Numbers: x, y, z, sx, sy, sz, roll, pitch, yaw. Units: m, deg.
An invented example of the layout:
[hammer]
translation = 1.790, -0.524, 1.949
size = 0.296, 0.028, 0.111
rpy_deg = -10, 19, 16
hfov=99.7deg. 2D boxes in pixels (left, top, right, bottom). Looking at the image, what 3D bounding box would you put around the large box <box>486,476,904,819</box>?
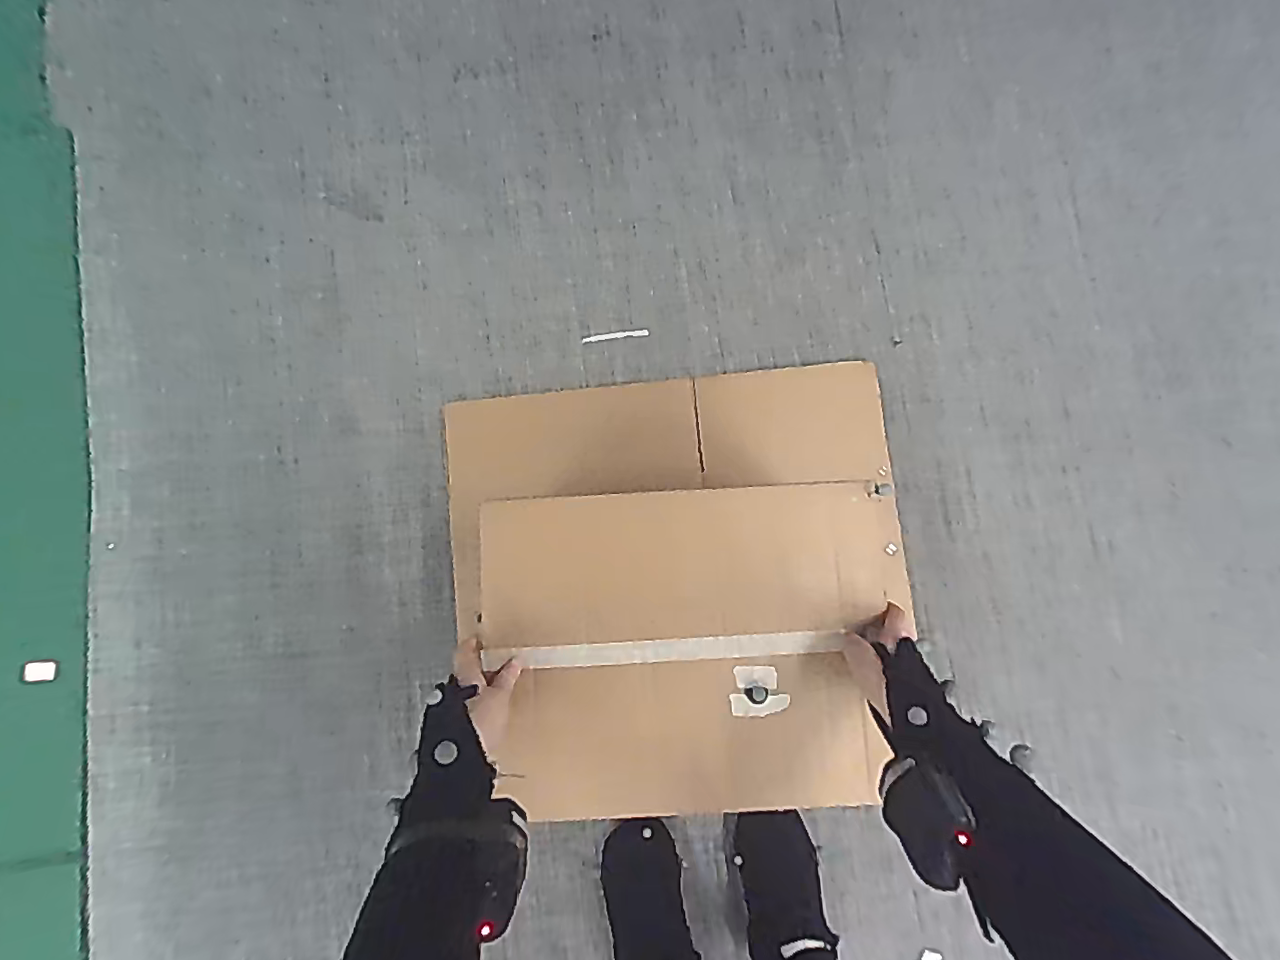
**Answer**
[large box]
translation = 0.048, 0.177, 0.684
size = 0.408, 0.320, 0.320
rpy_deg = -3, 85, -1
